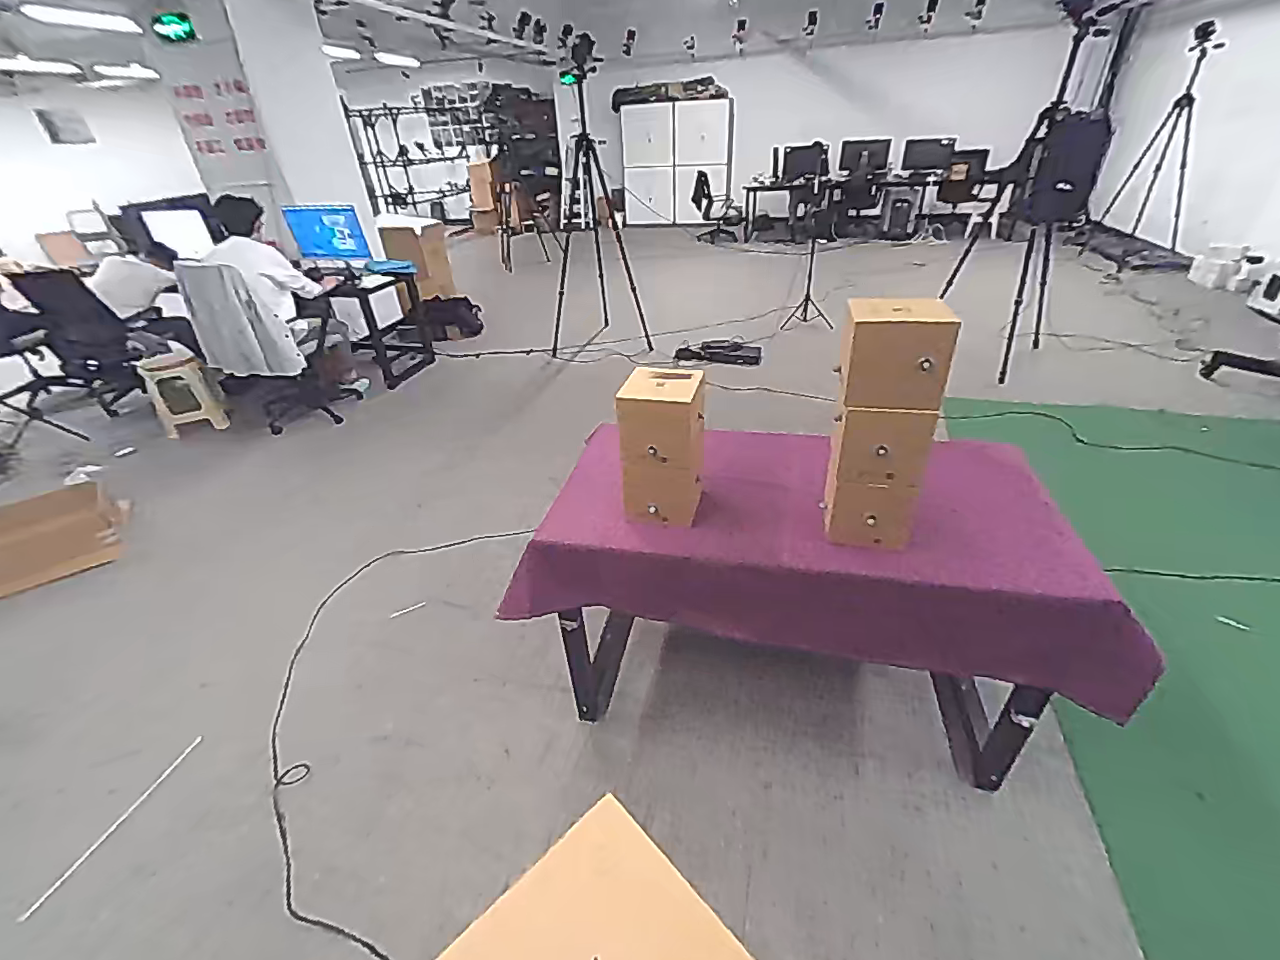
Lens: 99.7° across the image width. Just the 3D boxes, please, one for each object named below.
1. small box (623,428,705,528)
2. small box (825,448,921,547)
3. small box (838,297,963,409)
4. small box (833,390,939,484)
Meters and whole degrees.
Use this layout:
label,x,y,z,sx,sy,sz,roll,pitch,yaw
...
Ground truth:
label,x,y,z,sx,sy,sz,roll,pitch,yaw
small box,0.063,-0.007,1.324,0.168,0.176,0.179,6,35,14
small box,0.516,0.032,1.219,0.168,0.176,0.179,5,35,13
small box,0.491,-0.247,1.046,0.179,0.176,0.168,4,33,13
small box,0.503,-0.107,1.130,0.168,0.176,0.179,5,34,13
